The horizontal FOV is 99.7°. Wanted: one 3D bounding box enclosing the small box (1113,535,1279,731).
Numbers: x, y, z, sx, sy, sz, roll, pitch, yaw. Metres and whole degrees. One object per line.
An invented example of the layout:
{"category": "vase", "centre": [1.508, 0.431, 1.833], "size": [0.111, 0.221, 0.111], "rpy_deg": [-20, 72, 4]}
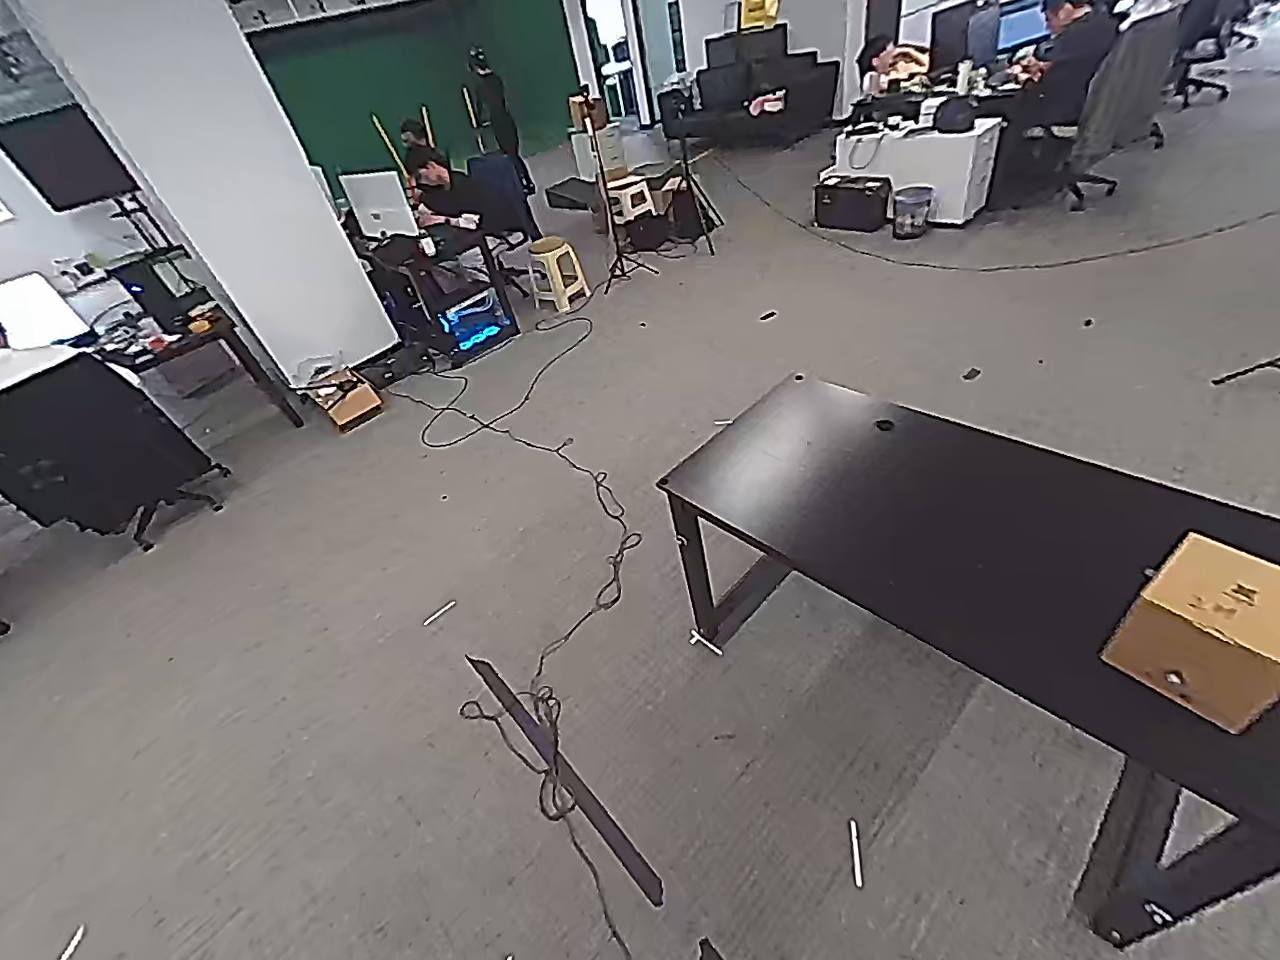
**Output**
{"category": "small box", "centre": [0.845, 0.221, 0.789], "size": [0.179, 0.176, 0.168], "rpy_deg": [-32, 42, -20]}
